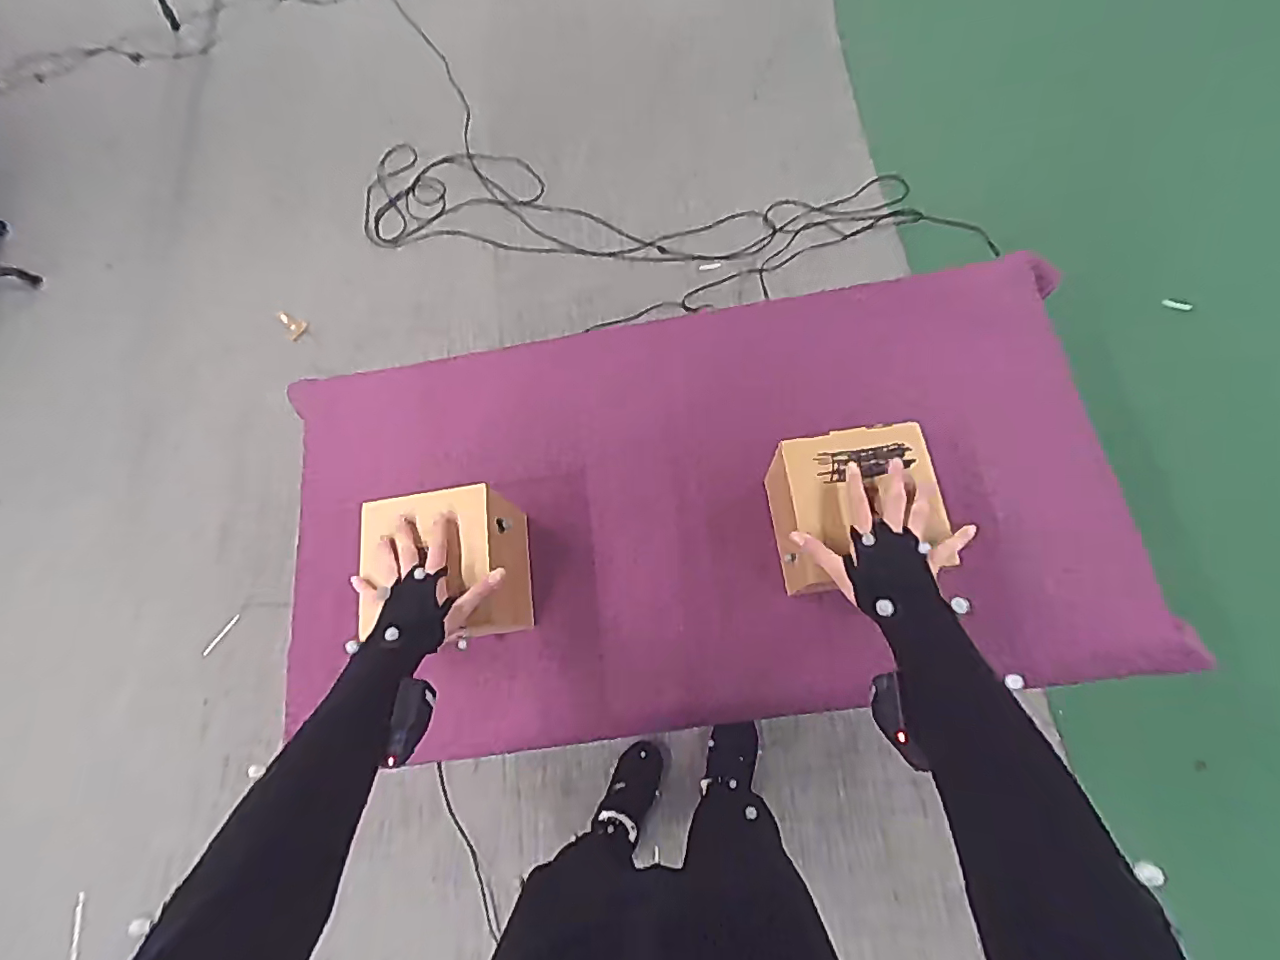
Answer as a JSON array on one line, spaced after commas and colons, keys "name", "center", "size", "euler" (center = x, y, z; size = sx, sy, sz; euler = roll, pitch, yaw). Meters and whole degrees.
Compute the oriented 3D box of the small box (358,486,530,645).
[{"name": "small box", "center": [-0.257, 0.125, 0.741], "size": [0.168, 0.176, 0.179], "euler": [-9, 72, 4]}]
